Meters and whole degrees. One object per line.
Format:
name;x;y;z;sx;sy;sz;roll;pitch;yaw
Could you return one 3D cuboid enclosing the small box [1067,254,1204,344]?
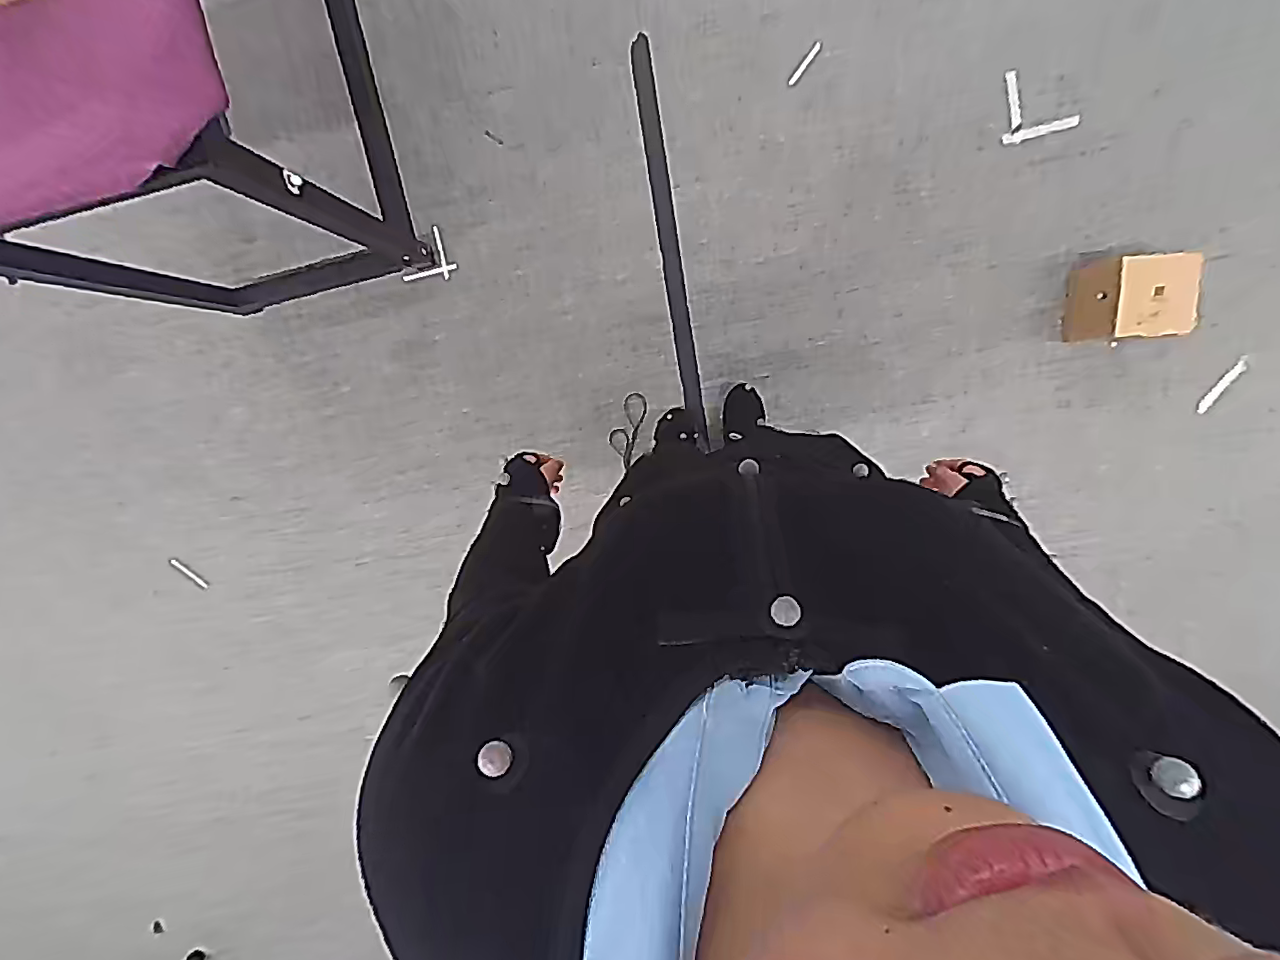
small box;1.149;-0.417;1.269;0.168;0.176;0.179;-1;100;5
